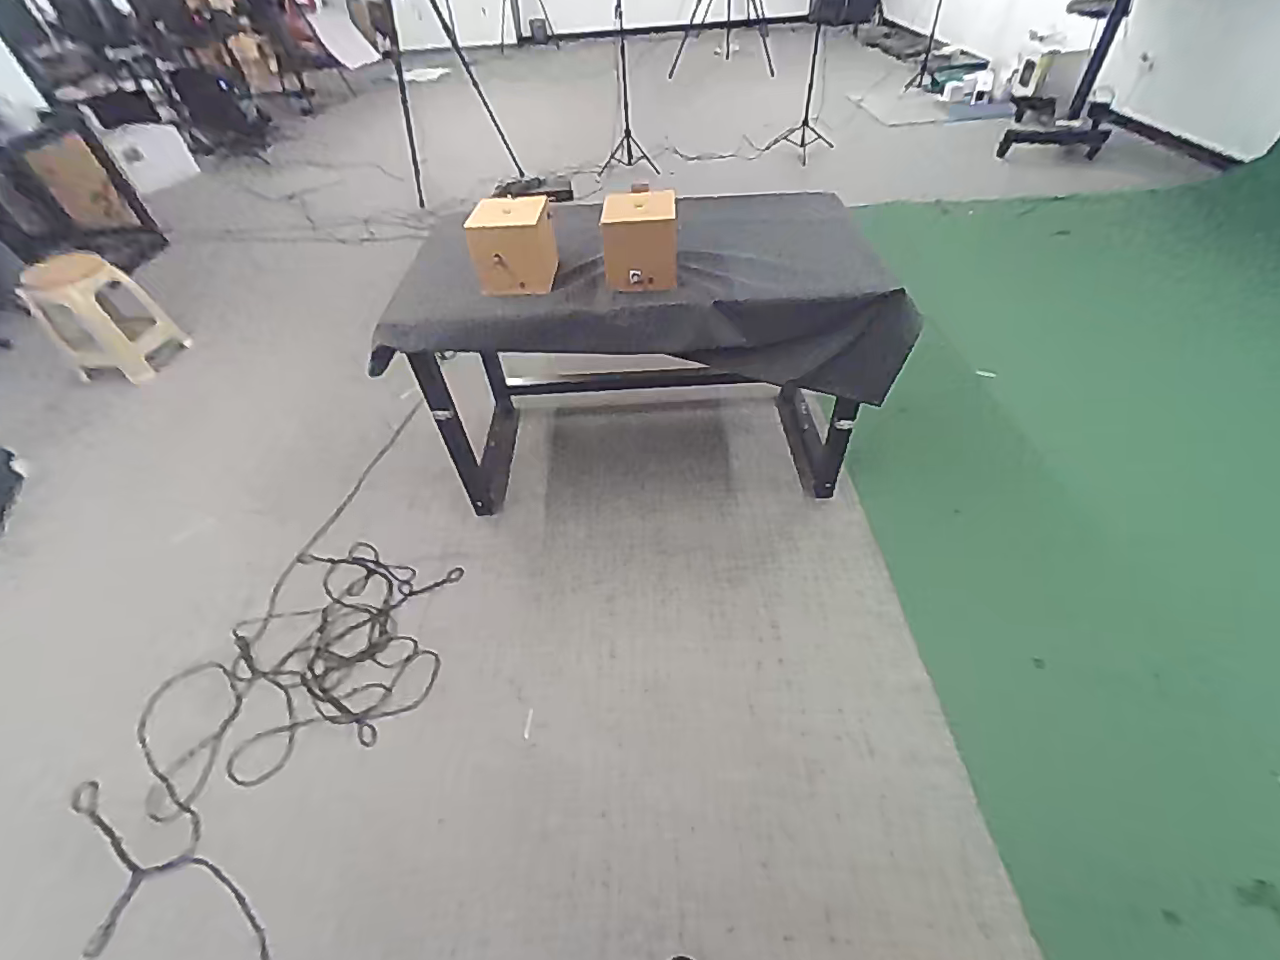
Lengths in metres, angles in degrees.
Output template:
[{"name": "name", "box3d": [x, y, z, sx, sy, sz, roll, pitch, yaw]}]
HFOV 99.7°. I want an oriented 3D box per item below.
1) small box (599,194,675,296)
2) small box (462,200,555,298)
[{"name": "small box", "box3d": [-0.002, -0.556, 1.284, 0.168, 0.176, 0.179, -3, 46, 4]}, {"name": "small box", "box3d": [-0.306, -0.552, 1.303, 0.168, 0.176, 0.179, -2, 45, 3]}]
